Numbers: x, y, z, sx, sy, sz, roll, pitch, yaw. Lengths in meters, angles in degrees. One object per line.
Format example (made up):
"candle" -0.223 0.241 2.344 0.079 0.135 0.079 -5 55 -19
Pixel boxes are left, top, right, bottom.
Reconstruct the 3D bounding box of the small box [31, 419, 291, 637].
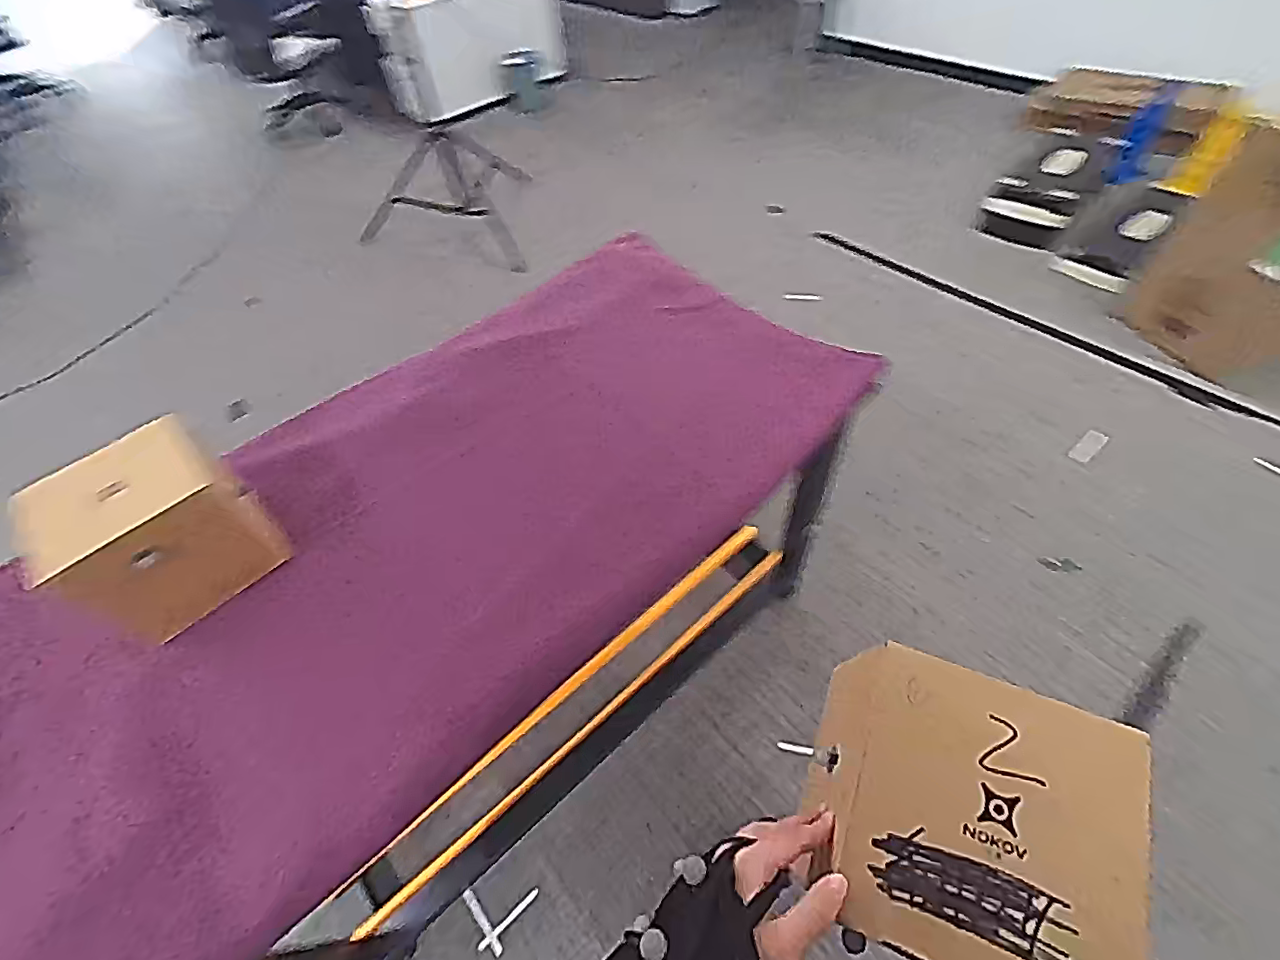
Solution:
"small box" -0.585 0.062 0.686 0.179 0.176 0.168 -39 59 -22
